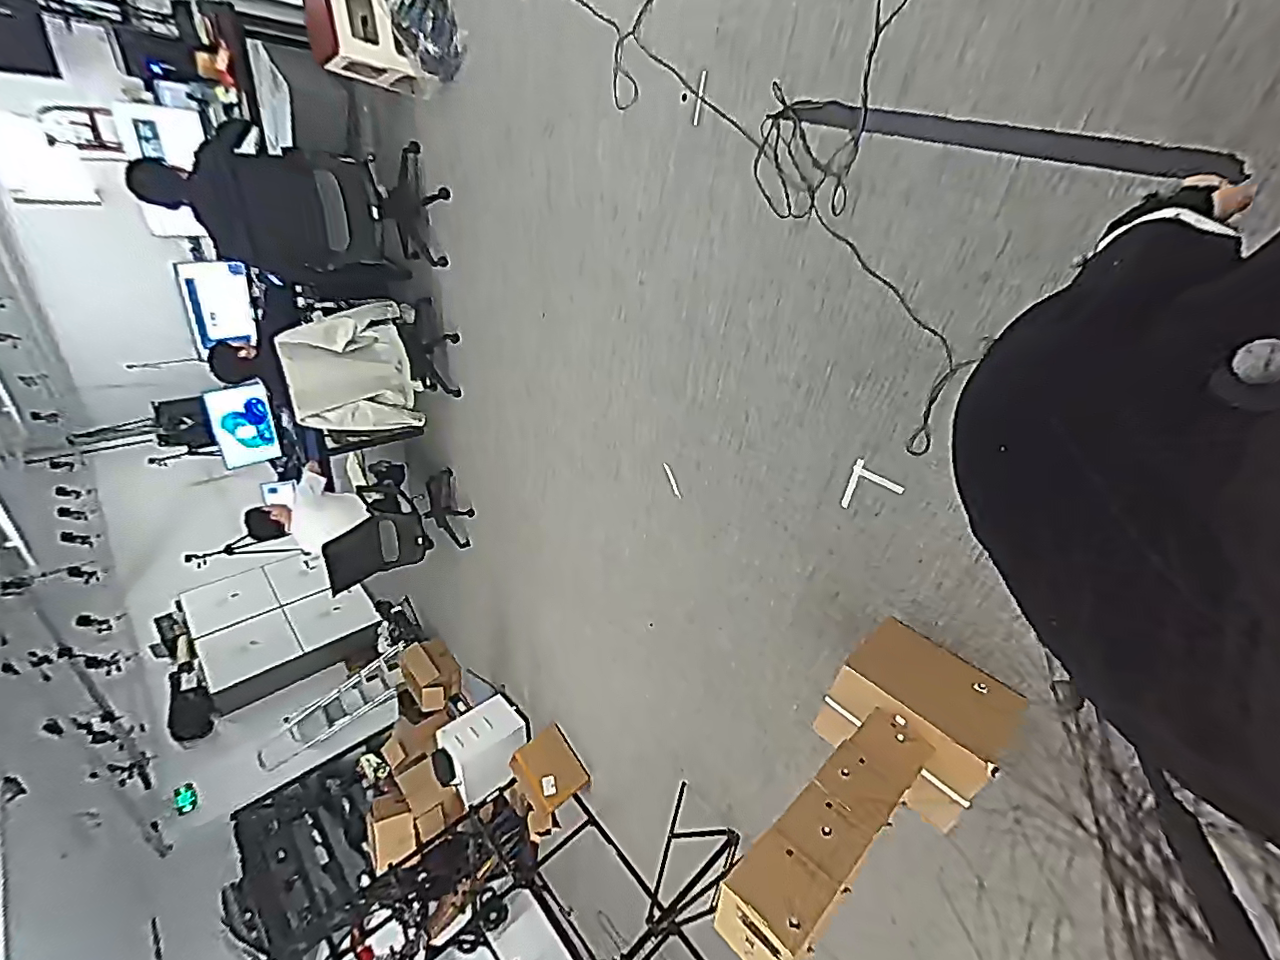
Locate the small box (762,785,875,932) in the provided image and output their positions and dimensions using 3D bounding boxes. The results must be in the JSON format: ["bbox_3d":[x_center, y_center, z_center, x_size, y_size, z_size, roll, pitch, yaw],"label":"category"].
[{"bbox_3d":[0.400,0.833,1.209,0.168,0.176,0.179,28,126,40],"label":"small box"}]

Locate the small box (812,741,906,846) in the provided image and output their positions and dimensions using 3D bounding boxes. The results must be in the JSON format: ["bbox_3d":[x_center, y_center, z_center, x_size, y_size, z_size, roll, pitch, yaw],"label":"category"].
[{"bbox_3d":[0.517,0.781,1.312,0.168,0.176,0.179,32,130,38],"label":"small box"}]

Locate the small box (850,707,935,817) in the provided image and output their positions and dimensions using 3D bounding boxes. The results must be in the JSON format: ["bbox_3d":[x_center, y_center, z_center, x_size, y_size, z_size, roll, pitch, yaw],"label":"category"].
[{"bbox_3d":[0.637,0.741,1.414,0.168,0.176,0.179,32,128,36],"label":"small box"}]
